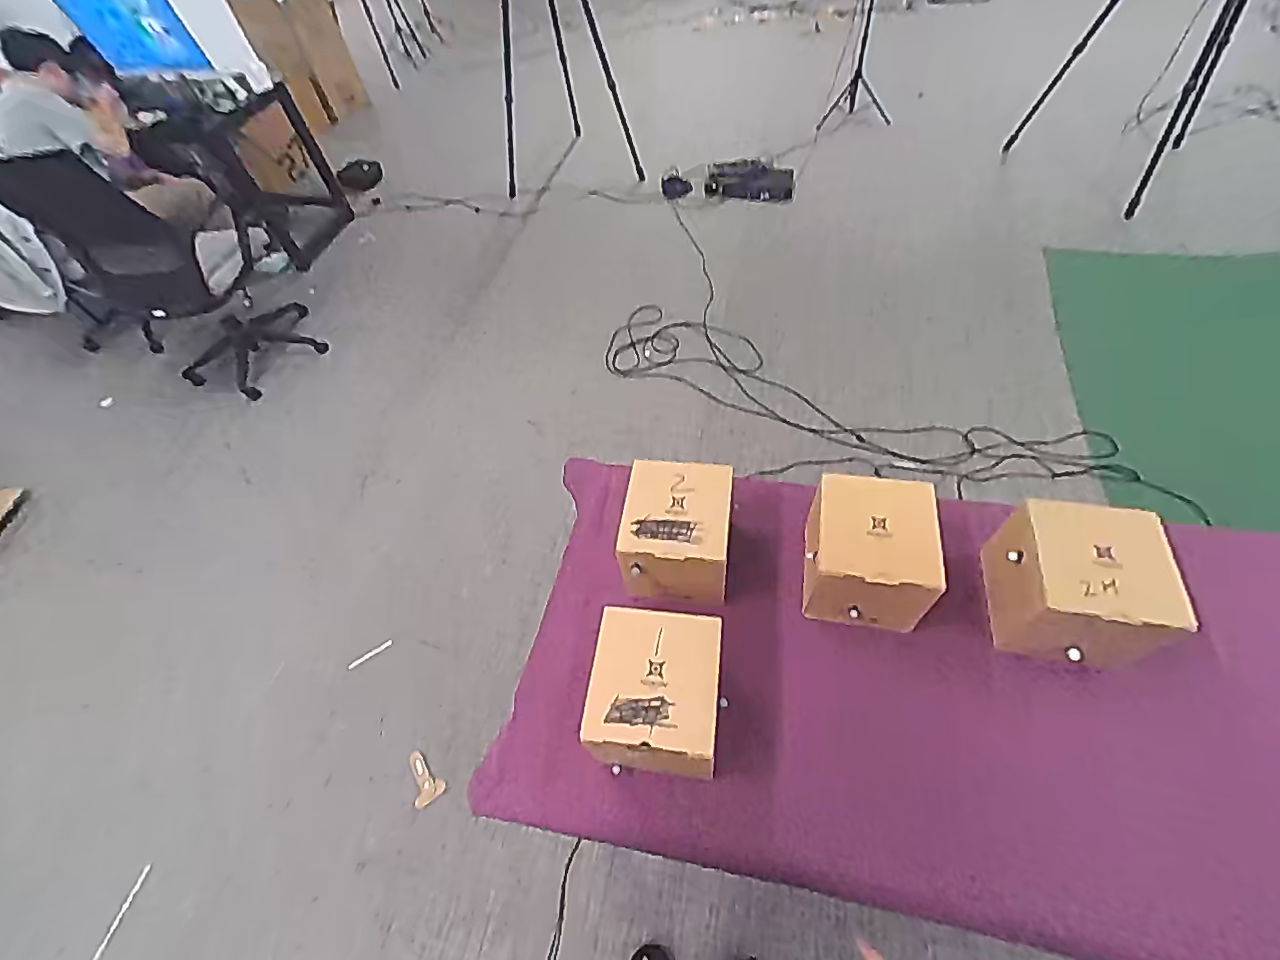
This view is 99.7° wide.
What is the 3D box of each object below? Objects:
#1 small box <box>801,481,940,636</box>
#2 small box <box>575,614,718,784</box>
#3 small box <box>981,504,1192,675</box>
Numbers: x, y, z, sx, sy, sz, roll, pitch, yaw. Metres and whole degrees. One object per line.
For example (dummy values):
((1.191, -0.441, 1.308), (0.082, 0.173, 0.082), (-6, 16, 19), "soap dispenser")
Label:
((0.351, 0.125, 0.853), (0.168, 0.176, 0.179), (6, 56, 12), "small box")
((0.021, 0.311, 0.759), (0.168, 0.176, 0.179), (4, 53, 10), "small box")
((0.622, 0.160, 0.786), (0.168, 0.176, 0.179), (7, 56, 13), "small box")
